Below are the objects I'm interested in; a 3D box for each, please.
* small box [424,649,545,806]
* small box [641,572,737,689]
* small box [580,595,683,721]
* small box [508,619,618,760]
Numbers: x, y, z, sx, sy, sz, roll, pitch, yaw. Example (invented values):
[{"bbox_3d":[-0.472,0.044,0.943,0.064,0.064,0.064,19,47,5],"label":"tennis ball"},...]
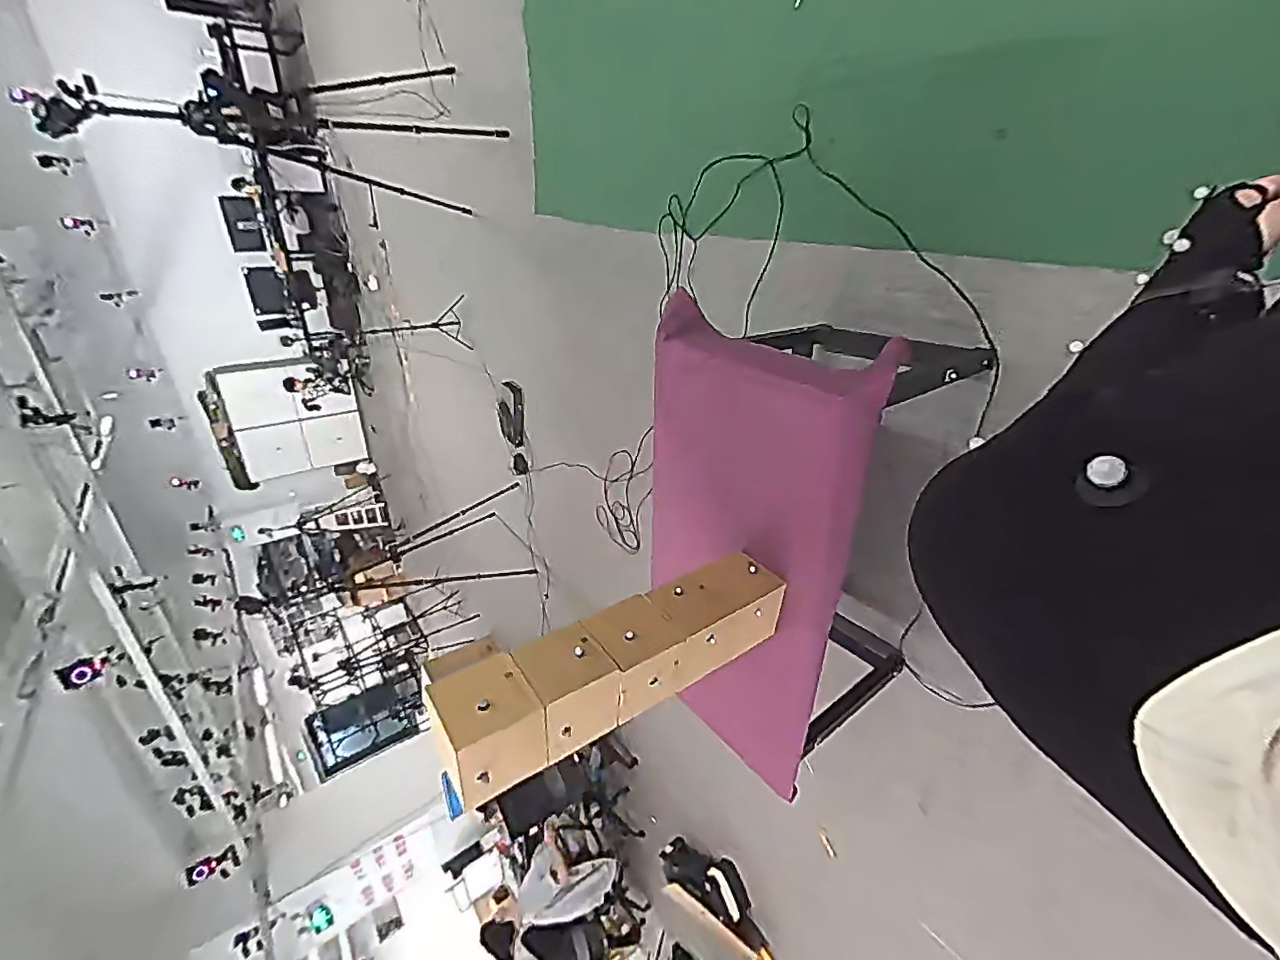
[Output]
[{"bbox_3d":[-0.289,0.455,1.023,0.168,0.176,0.179,35,131,44],"label":"small box"},{"bbox_3d":[0.110,0.348,1.286,0.168,0.176,0.179,37,132,43],"label":"small box"},{"bbox_3d":[-0.024,0.384,1.201,0.179,0.176,0.168,36,131,42],"label":"small box"},{"bbox_3d":[-0.158,0.423,1.113,0.168,0.176,0.179,35,130,44],"label":"small box"}]
